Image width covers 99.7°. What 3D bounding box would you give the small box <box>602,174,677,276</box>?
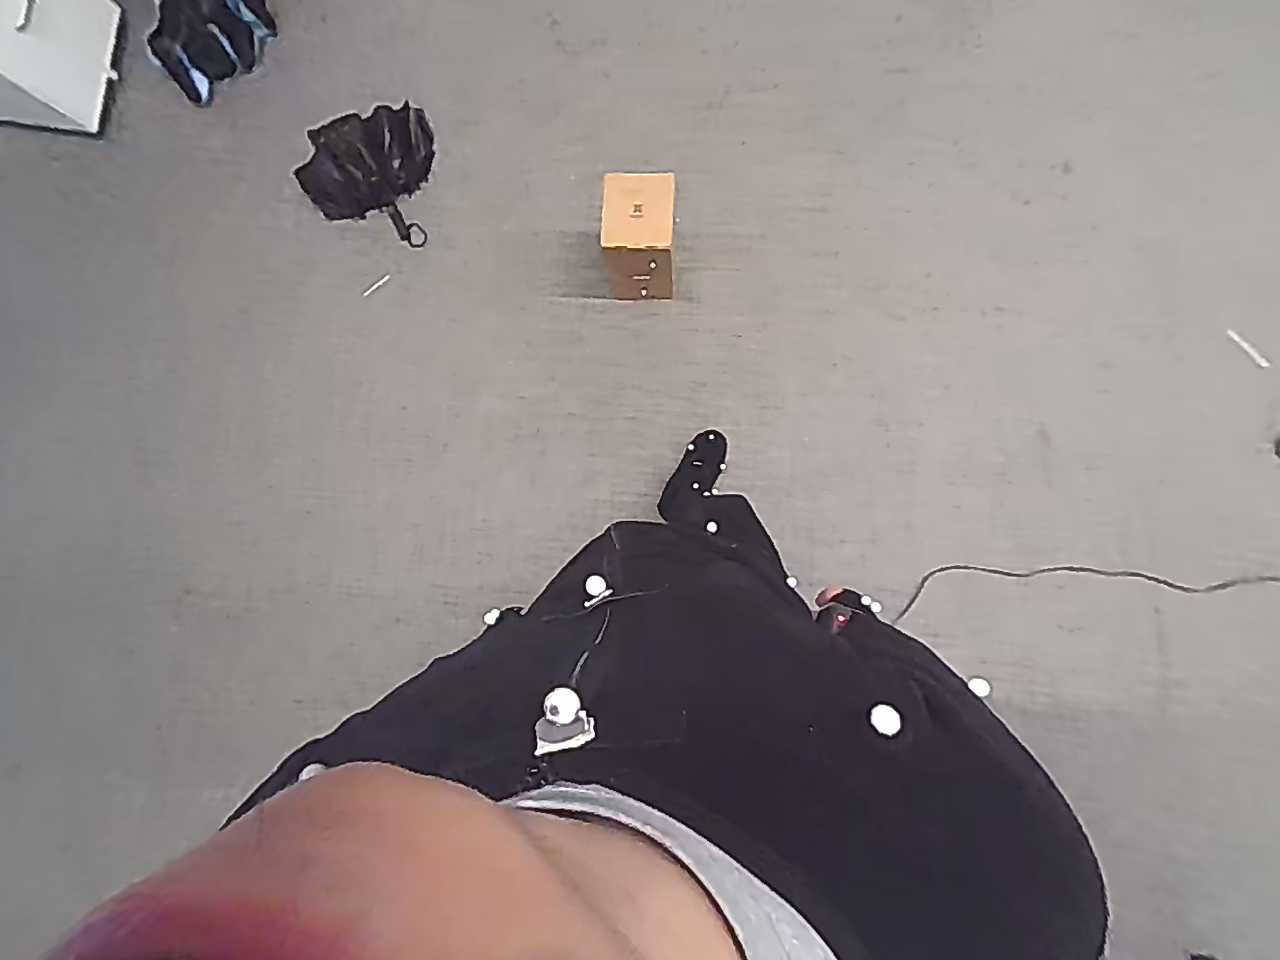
[{"bbox_3d":[0.004,-0.611,1.312,0.168,0.176,0.179,2,87,4],"label":"small box"}]

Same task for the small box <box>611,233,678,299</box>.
[{"bbox_3d":[0.016,-0.605,1.474,0.168,0.176,0.179,2,89,5],"label":"small box"}]
